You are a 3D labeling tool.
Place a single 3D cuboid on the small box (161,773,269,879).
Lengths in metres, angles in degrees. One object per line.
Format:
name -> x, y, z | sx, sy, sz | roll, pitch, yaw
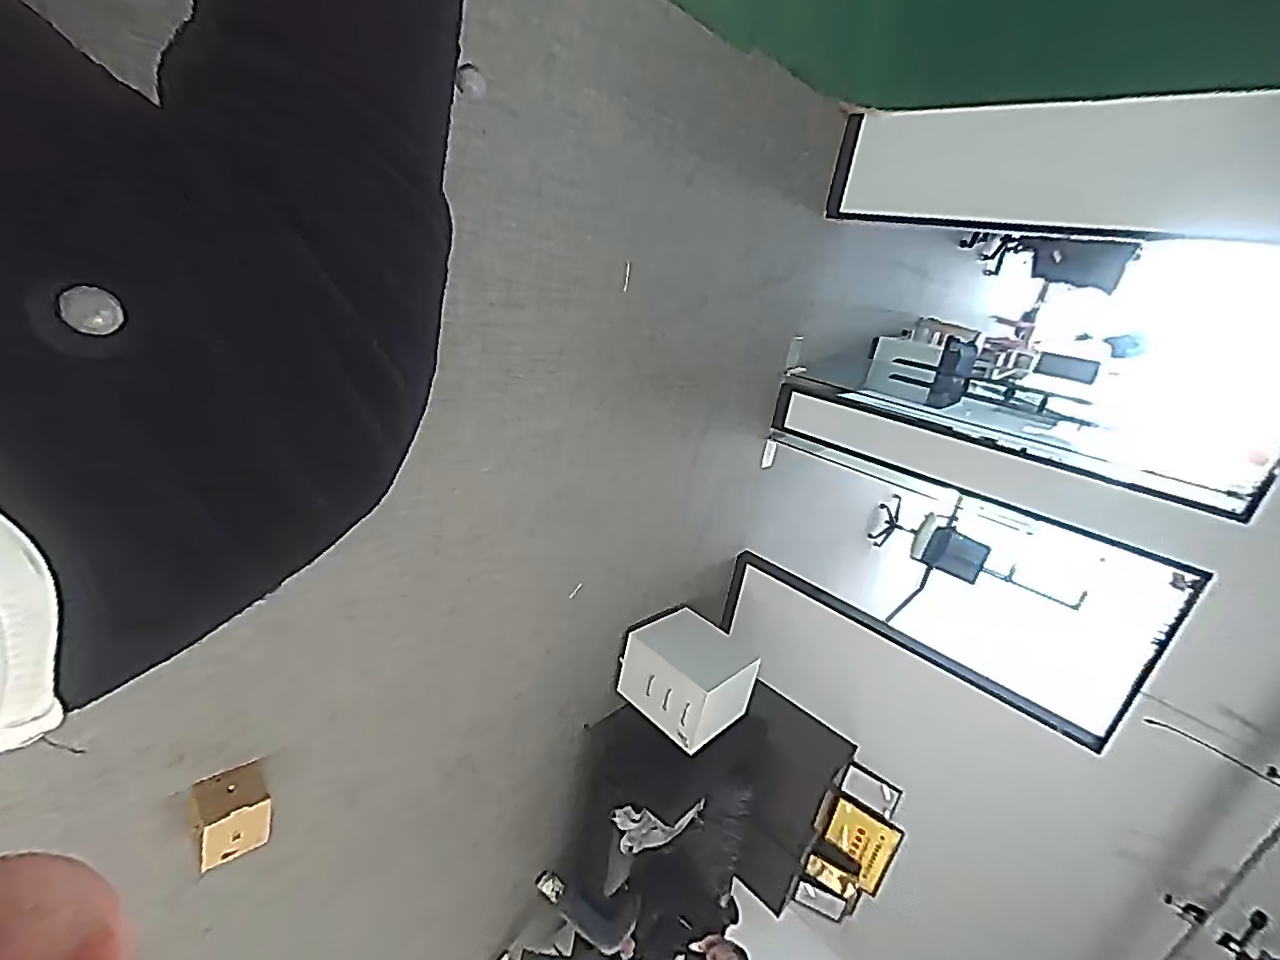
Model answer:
small box -> -1.252, 1.012, 1.594 | 0.179, 0.176, 0.168 | -38, 138, -32
